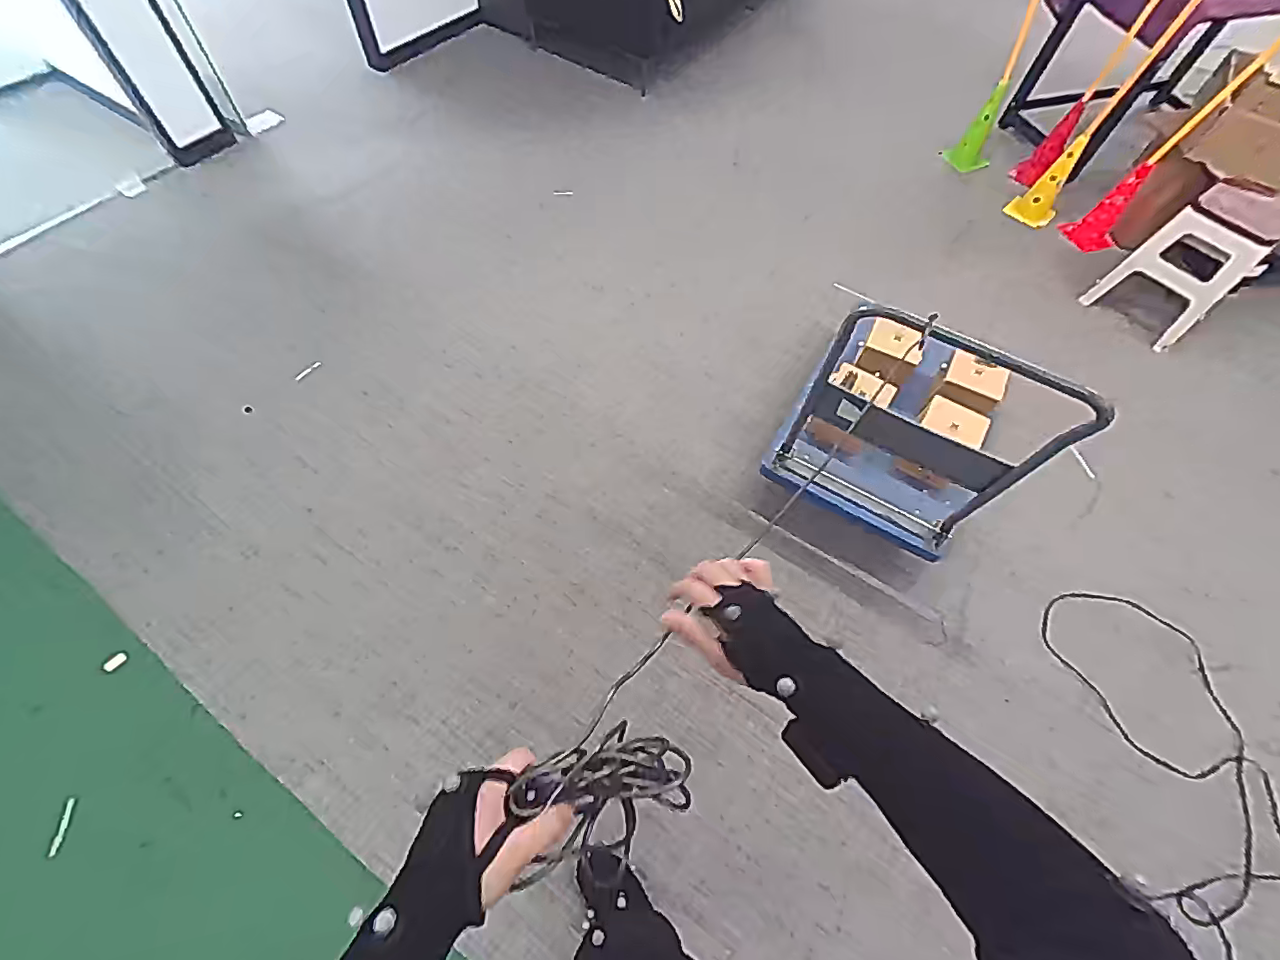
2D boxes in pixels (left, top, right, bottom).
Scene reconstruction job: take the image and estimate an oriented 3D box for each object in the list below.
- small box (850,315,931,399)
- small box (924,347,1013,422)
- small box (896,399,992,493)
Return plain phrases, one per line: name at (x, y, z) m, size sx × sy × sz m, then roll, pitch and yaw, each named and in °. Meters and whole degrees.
small box at (0.808, -0.395, 1.758) m, size 0.168 × 0.176 × 0.179 m, roll 26°, pitch 63°, yaw 11°
small box at (1.025, -0.276, 1.698) m, size 0.168 × 0.176 × 0.179 m, roll 27°, pitch 64°, yaw 14°
small box at (0.887, -0.097, 1.593) m, size 0.168 × 0.176 × 0.179 m, roll 31°, pitch 64°, yaw 15°
